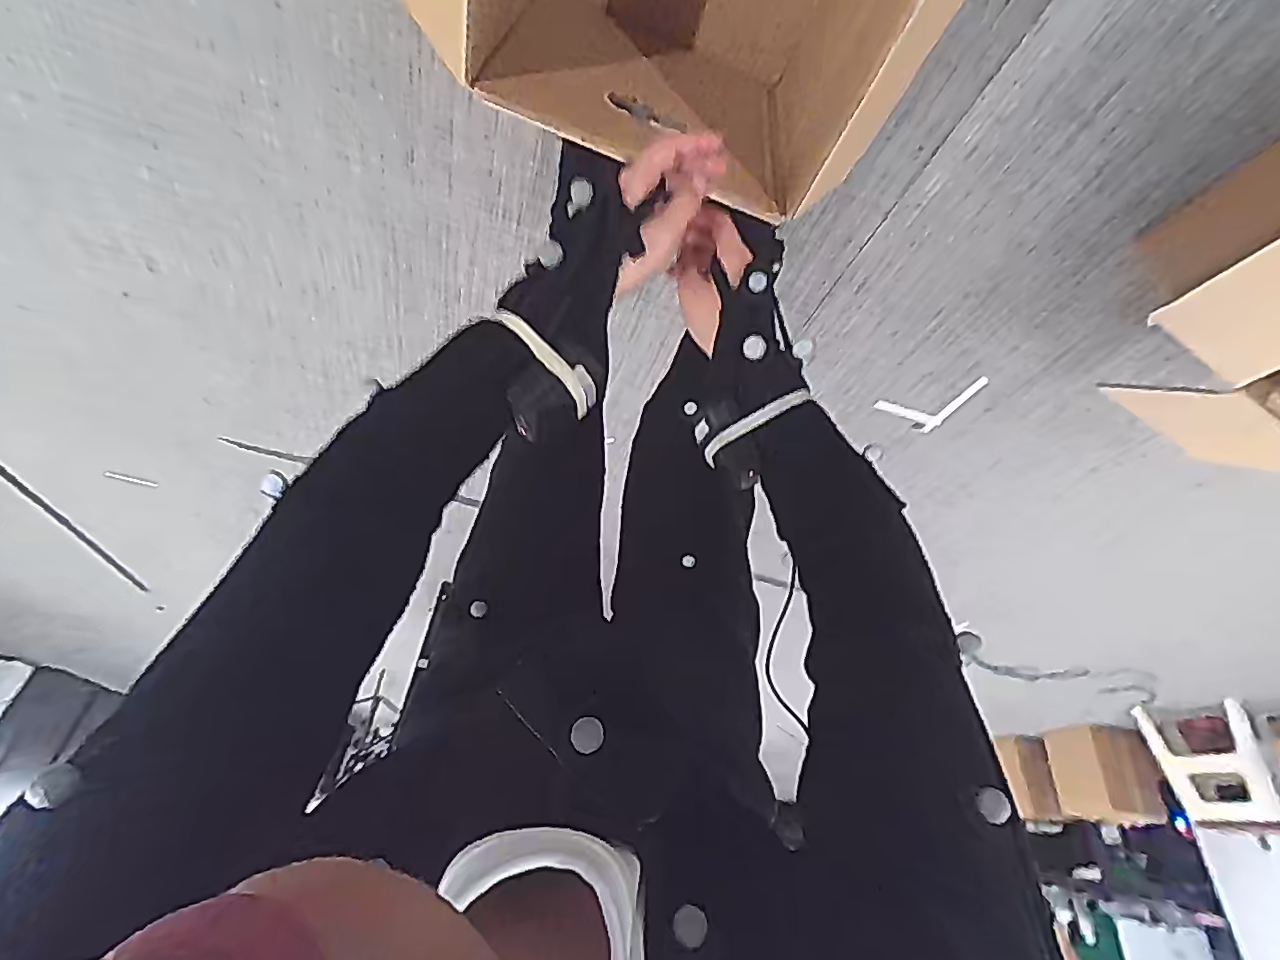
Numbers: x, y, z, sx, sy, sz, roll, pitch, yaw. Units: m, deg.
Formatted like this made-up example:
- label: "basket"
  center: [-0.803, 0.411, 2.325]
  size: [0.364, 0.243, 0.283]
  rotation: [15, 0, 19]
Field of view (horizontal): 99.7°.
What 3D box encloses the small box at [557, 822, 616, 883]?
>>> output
- label: "small box"
  center: [-0.194, 1.362, 1.982]
  size: [0.179, 0.176, 0.168]
  rotation: [12, 145, -8]
